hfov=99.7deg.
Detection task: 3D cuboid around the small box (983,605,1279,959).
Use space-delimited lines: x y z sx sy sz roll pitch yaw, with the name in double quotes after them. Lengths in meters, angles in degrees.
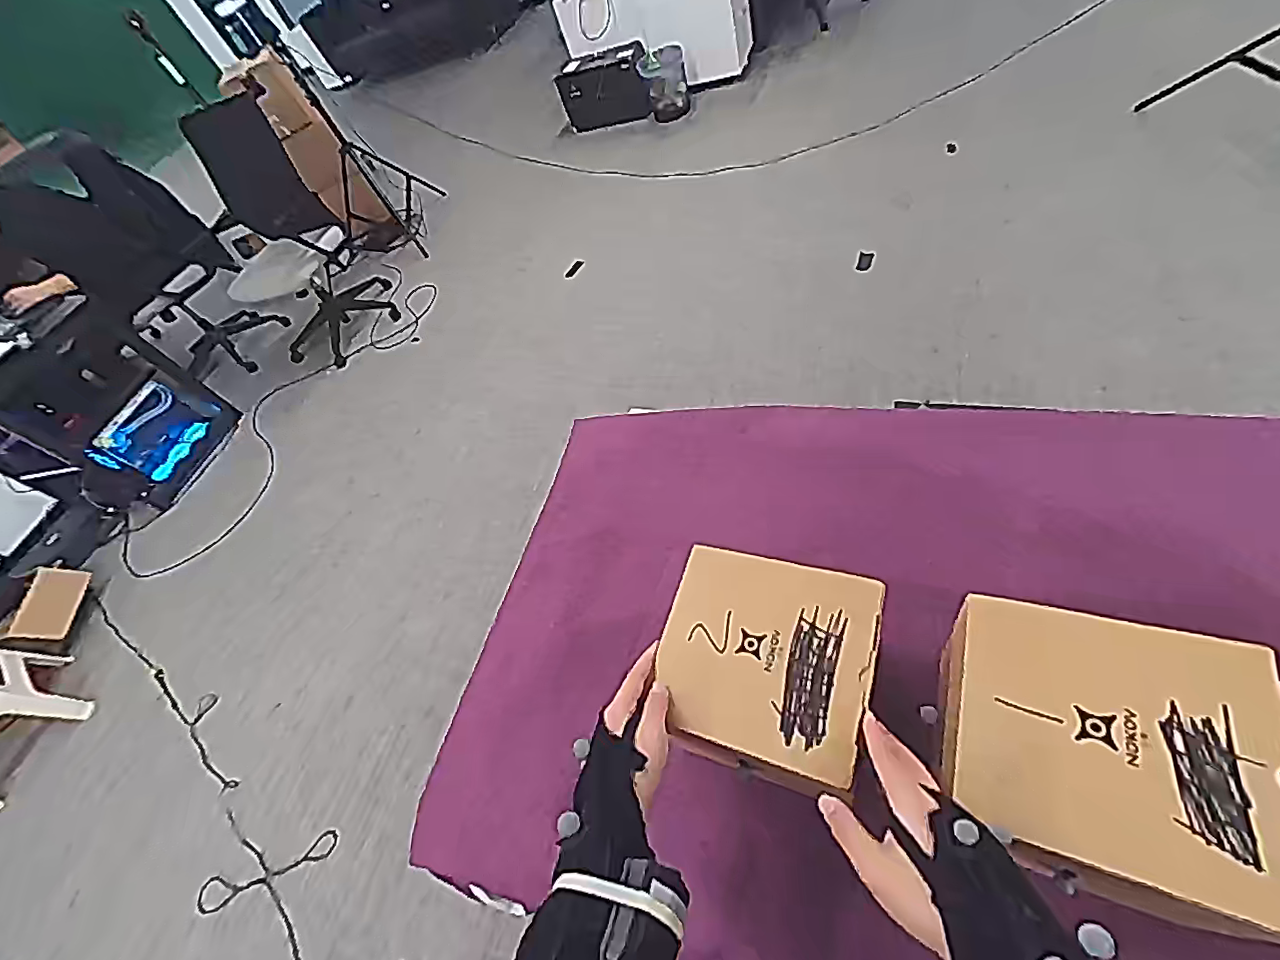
0.383 0.205 0.386 0.179 0.176 0.168 -13 92 18 "small box"
